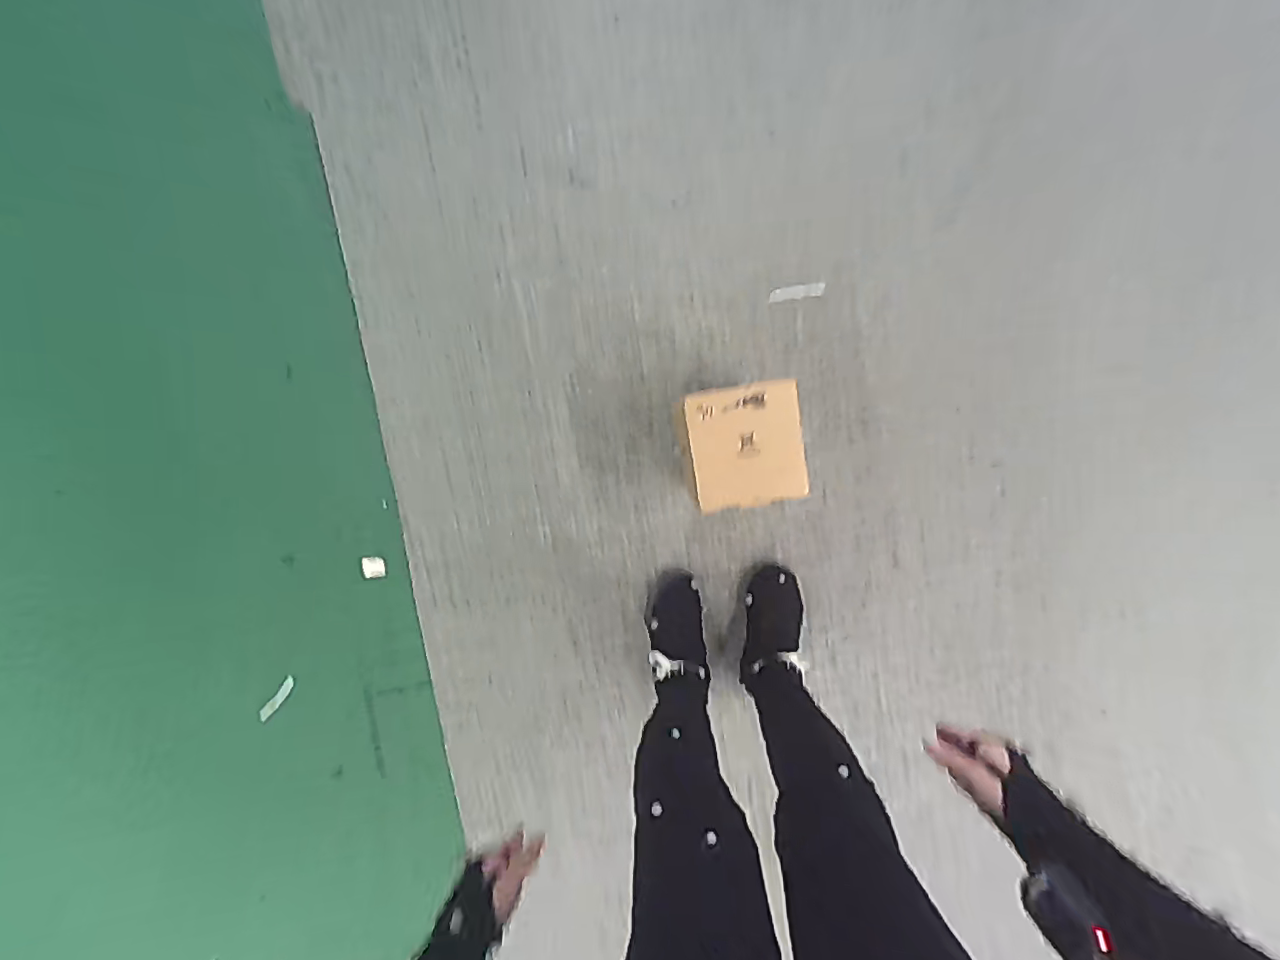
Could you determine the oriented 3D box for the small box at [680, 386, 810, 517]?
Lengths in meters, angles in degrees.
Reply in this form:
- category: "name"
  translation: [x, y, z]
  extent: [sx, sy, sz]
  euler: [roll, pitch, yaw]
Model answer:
- category: "small box"
  translation: [0.162, -0.051, 0.876]
  extent: [0.168, 0.176, 0.179]
  euler: [-10, 97, 1]
